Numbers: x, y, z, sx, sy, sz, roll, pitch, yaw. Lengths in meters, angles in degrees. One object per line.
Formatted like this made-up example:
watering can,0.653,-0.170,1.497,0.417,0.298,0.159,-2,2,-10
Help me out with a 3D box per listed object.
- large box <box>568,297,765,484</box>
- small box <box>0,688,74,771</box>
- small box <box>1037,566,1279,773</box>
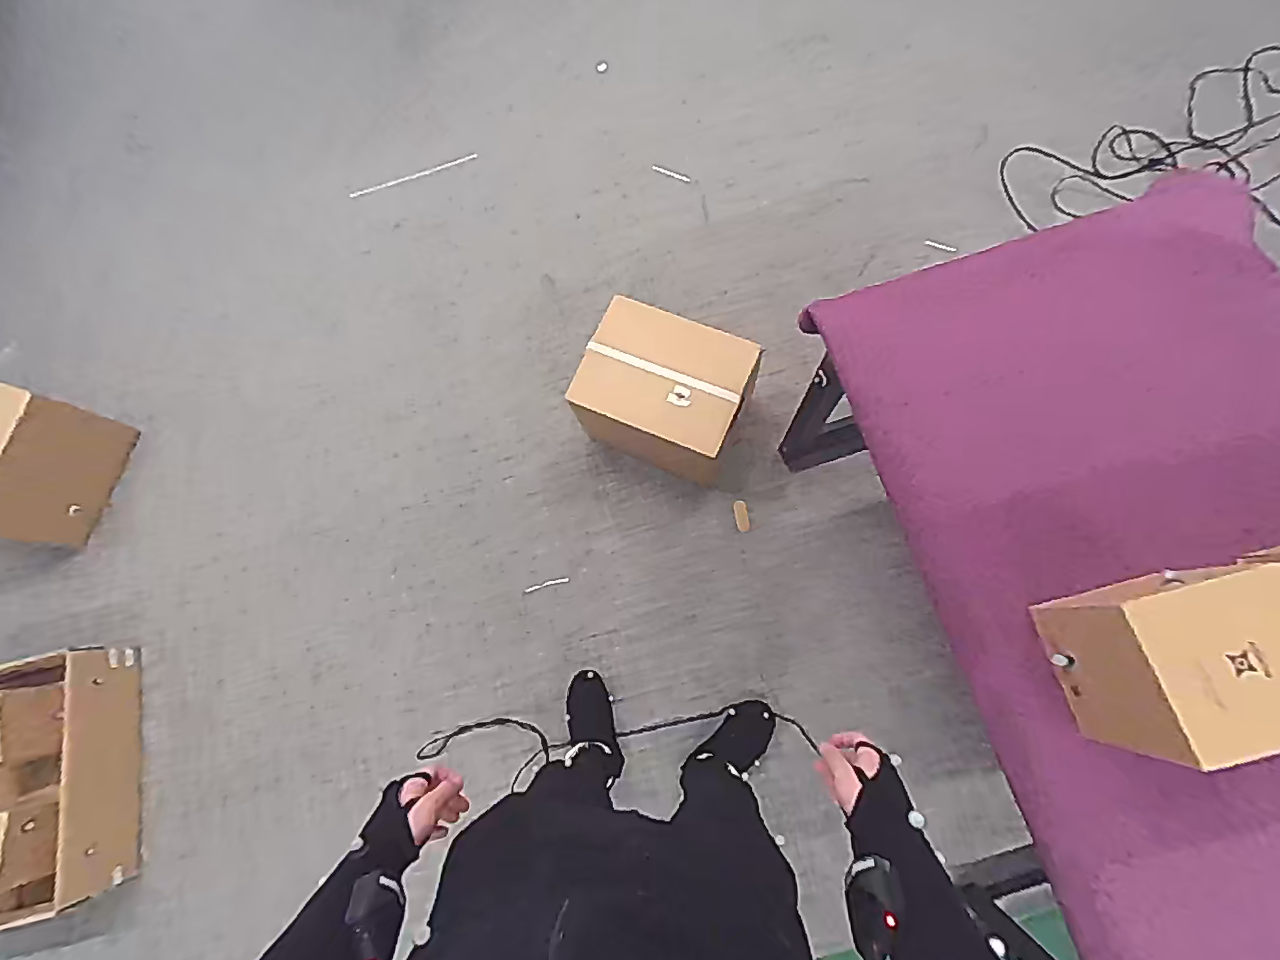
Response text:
large box,0.074,-0.226,1.453,0.408,0.320,0.320,22,80,10
small box,-1.656,0.661,1.425,0.168,0.176,0.179,-20,75,0
small box,0.604,0.199,0.602,0.179,0.176,0.168,-15,74,1
